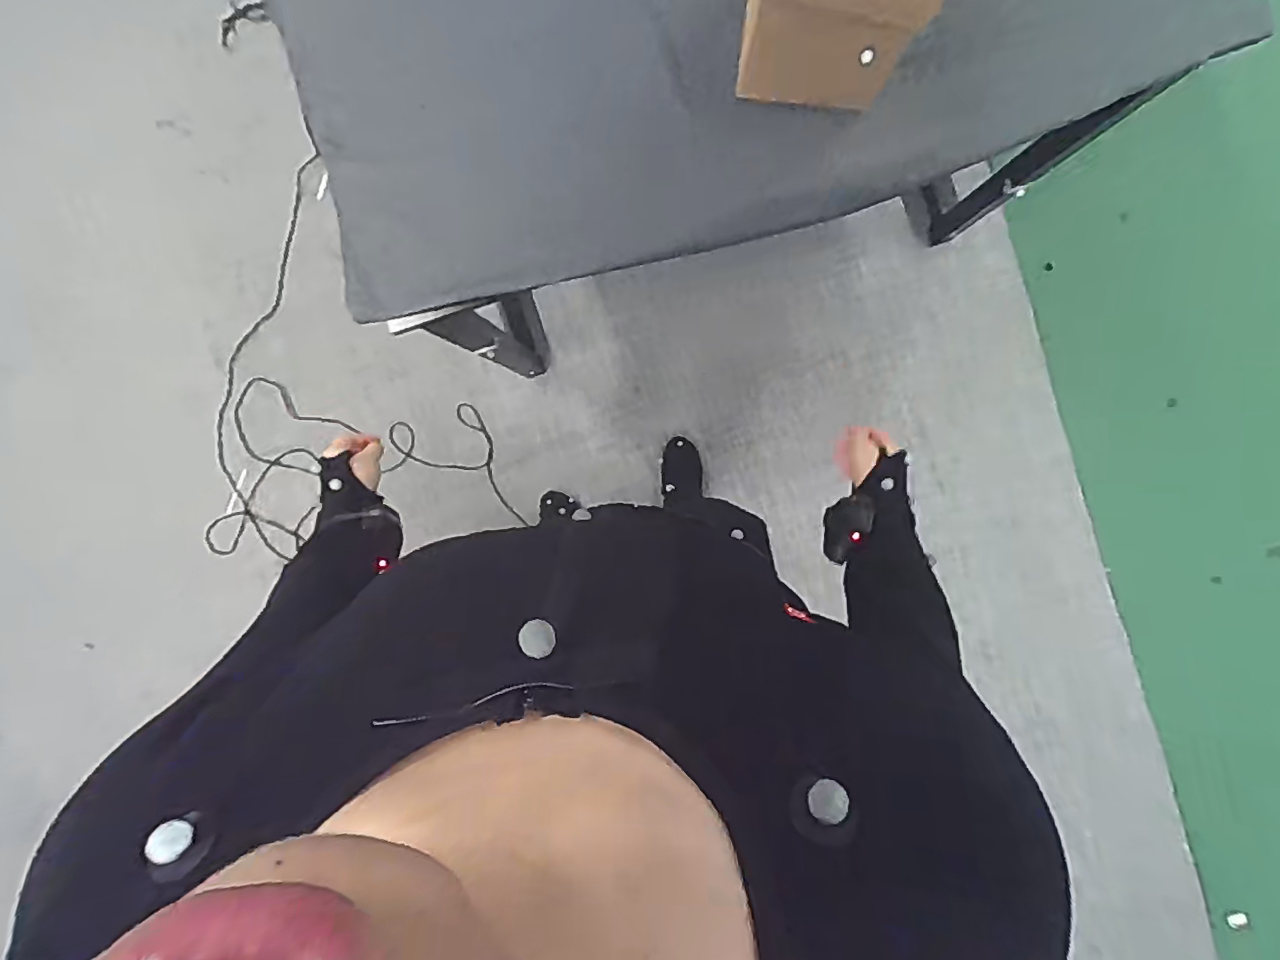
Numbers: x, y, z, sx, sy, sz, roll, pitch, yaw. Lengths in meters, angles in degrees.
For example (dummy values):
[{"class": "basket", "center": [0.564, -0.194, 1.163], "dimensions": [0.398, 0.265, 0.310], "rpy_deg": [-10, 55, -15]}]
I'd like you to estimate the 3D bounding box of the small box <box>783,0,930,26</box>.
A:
[{"class": "small box", "center": [0.213, -0.542, 0.459], "dimensions": [0.179, 0.176, 0.168], "rpy_deg": [14, 93, 1]}]
